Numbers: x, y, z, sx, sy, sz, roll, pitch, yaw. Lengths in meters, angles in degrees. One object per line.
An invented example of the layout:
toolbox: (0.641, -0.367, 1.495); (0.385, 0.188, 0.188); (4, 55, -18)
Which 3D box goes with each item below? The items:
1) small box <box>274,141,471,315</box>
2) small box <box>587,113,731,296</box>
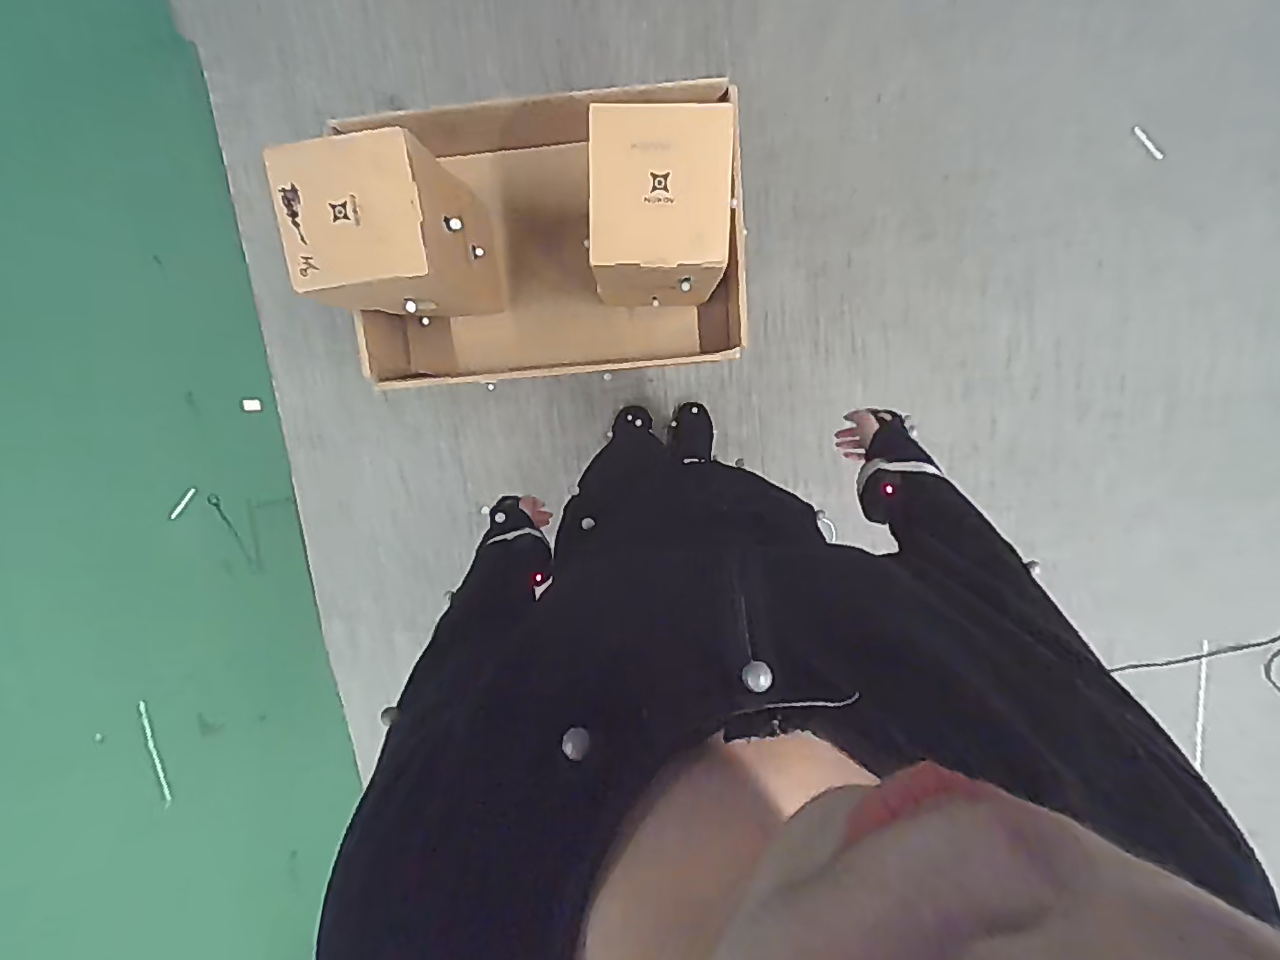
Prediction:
small box: (-0.341, -0.326, 0.732); (0.179, 0.176, 0.168); (-6, 98, 3)
small box: (0.024, -0.345, 0.709); (0.168, 0.176, 0.179); (2, 98, 2)
